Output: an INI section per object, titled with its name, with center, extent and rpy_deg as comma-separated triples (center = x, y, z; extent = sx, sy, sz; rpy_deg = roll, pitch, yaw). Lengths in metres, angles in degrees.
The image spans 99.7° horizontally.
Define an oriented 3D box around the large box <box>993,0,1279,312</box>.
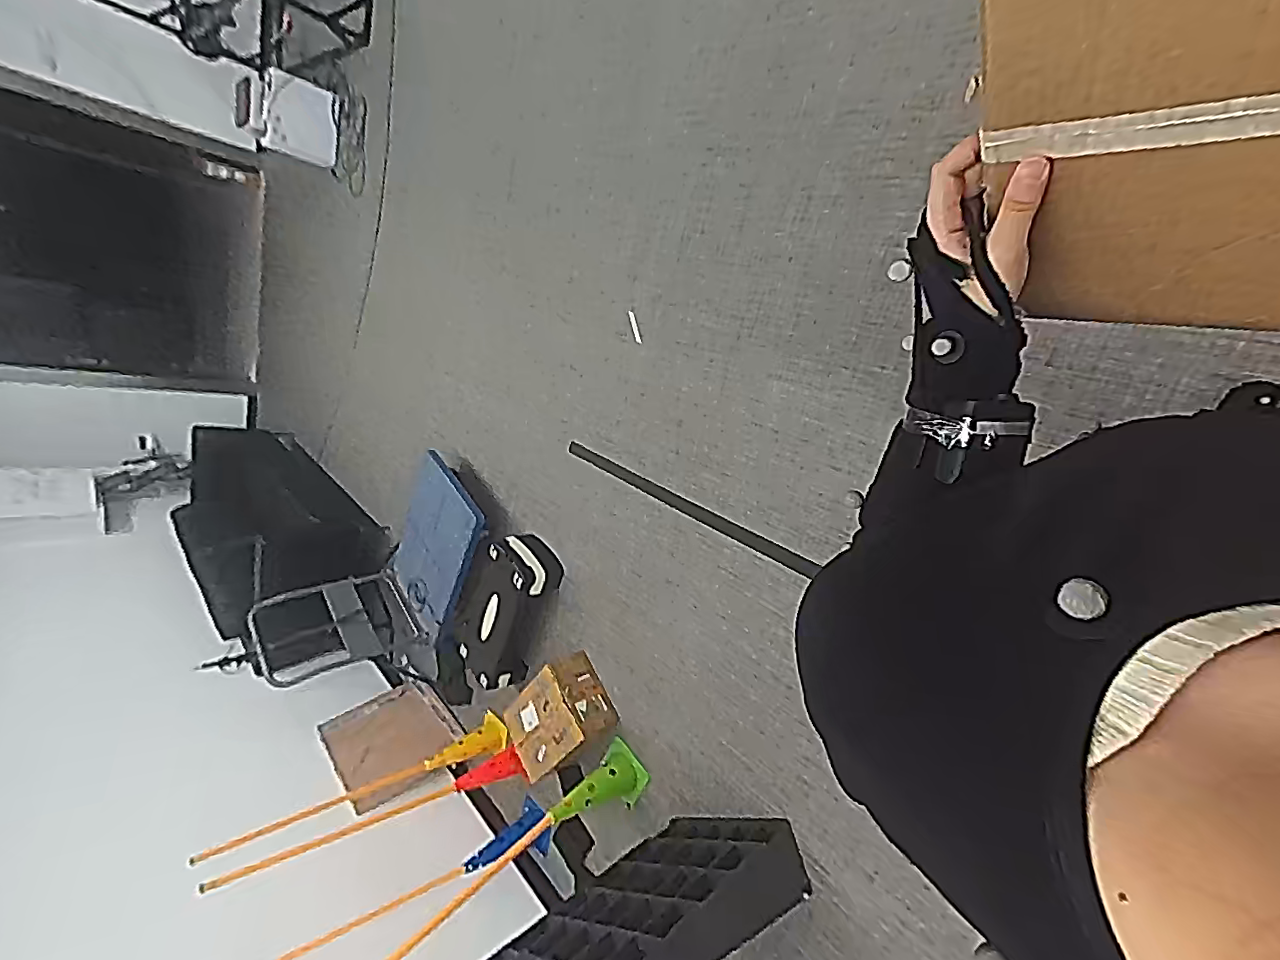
[large box]
center = 0.413, -0.284, 0.208
extent = 0.408, 0.320, 0.320
rpy_deg = 18, 78, 40
